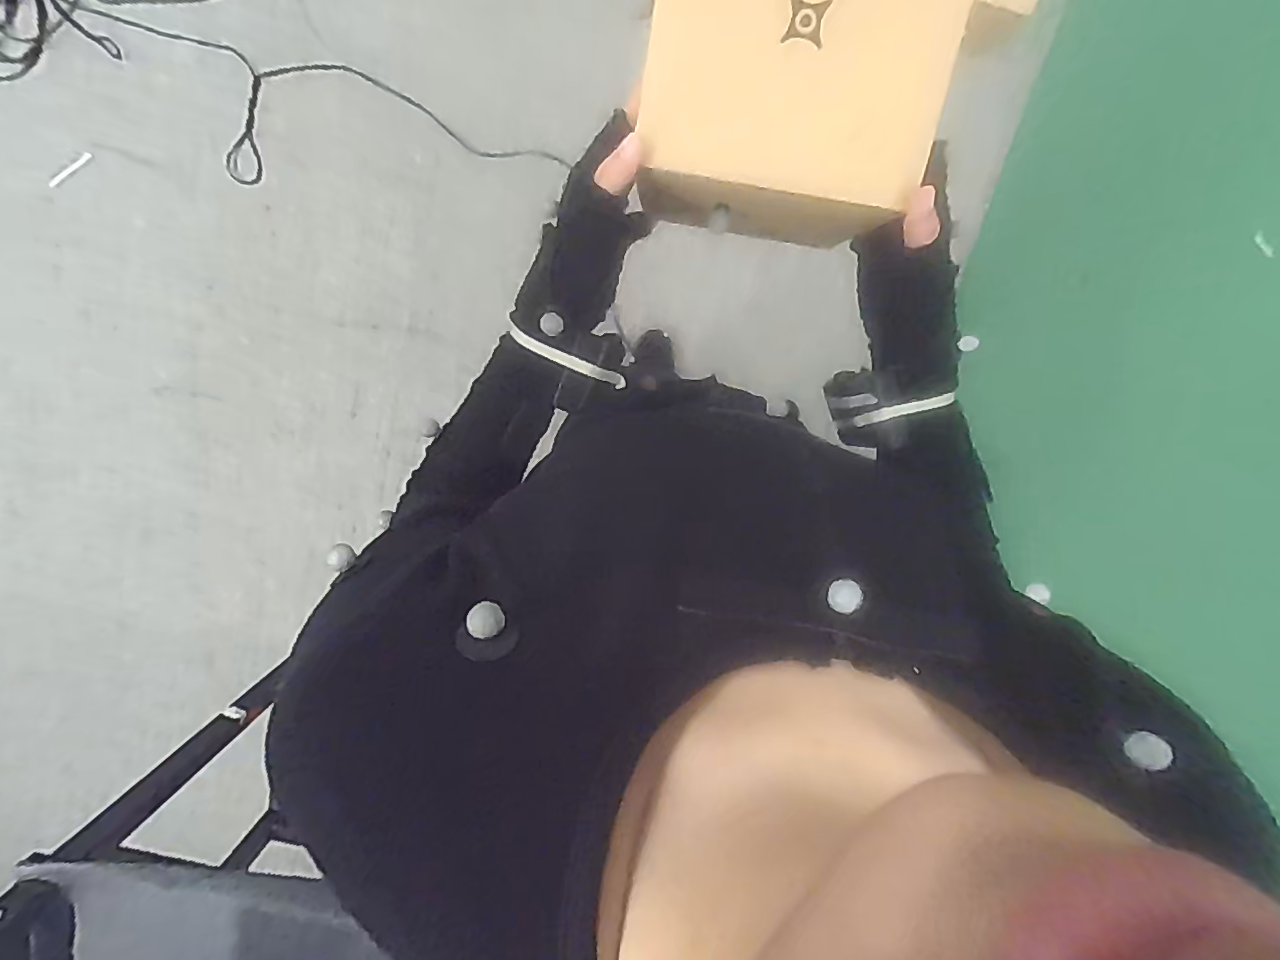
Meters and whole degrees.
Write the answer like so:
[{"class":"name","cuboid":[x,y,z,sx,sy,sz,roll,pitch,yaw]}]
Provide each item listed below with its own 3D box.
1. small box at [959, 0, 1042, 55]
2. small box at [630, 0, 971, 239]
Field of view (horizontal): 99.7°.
[{"class":"small box","cuboid":[0.749,-1.058,1.151,0.168,0.176,0.179,15,103,-3]},{"class":"small box","cuboid":[0.094,-0.272,0.357,0.168,0.176,0.179,10,105,1]}]
